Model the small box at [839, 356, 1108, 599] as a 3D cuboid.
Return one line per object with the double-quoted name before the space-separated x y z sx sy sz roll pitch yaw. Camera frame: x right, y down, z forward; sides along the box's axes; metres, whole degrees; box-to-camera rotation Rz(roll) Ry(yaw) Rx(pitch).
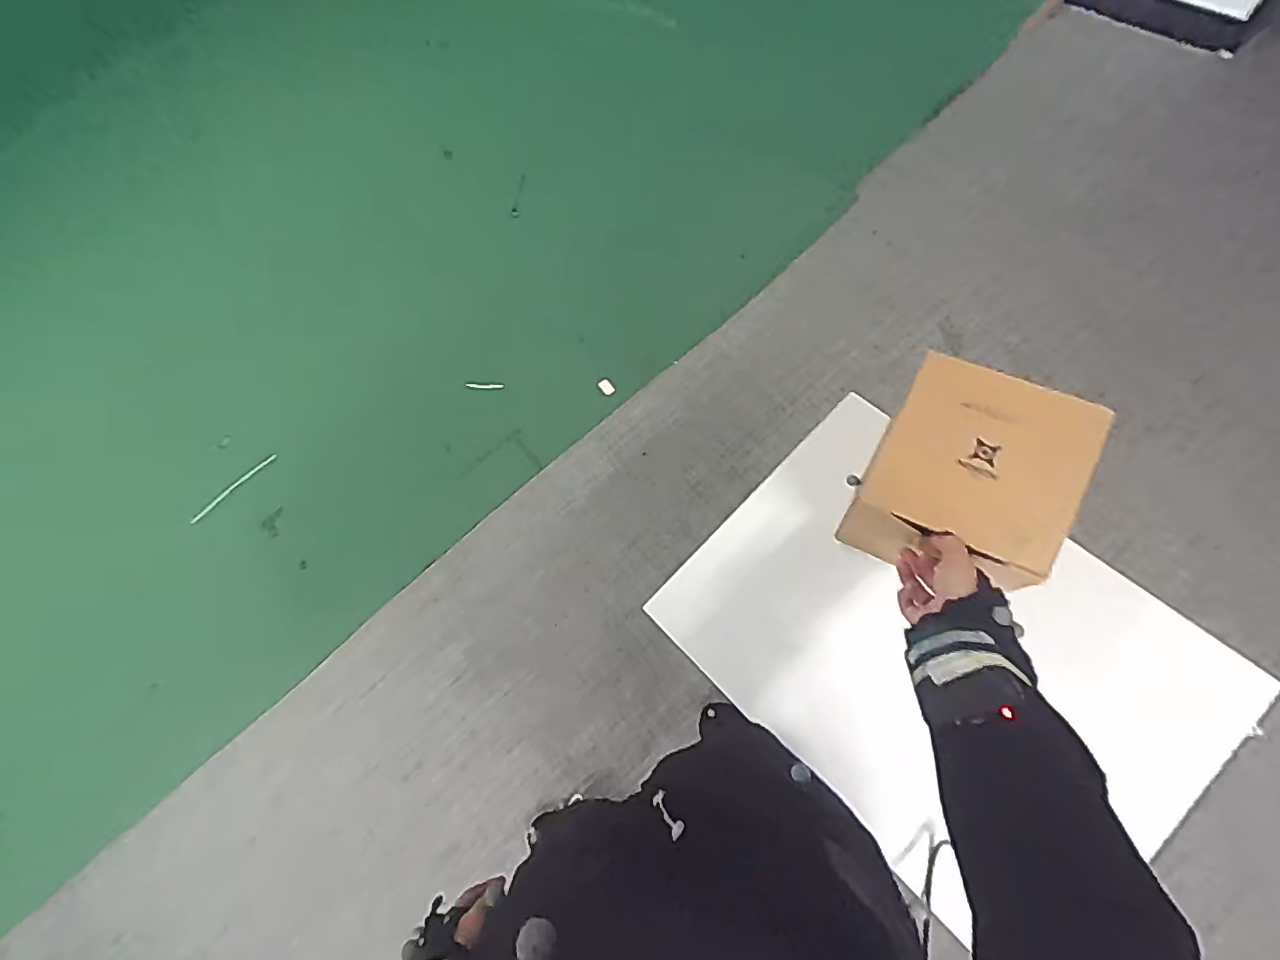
"small box" 0.325 0.009 0.567 0.168 0.176 0.179 26 78 17
